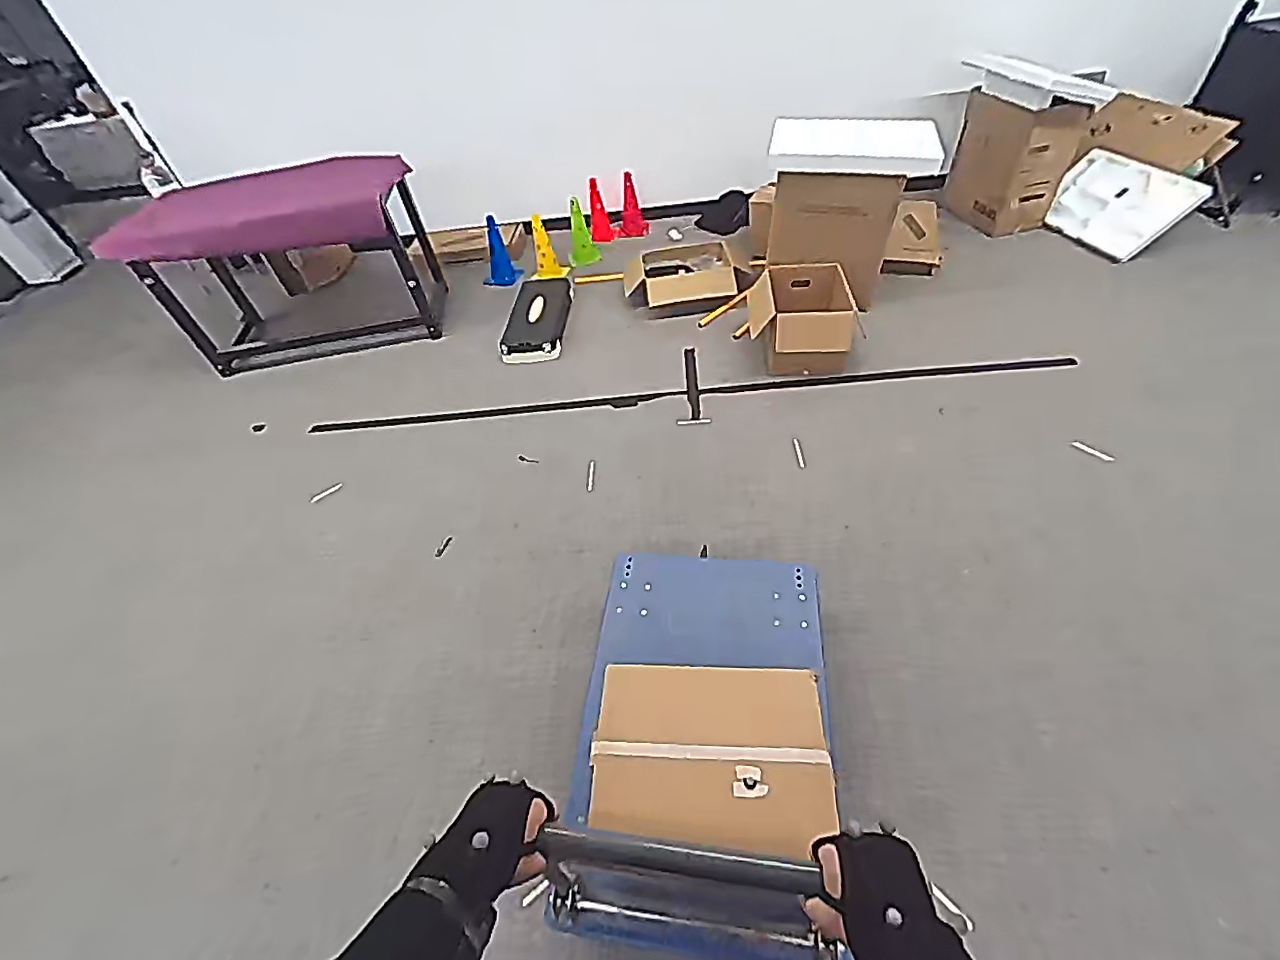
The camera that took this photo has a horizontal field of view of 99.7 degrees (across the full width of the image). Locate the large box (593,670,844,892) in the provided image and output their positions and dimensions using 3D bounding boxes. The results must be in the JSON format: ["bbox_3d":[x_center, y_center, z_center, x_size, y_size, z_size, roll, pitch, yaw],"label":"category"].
[{"bbox_3d":[0.137,0.587,1.057,0.408,0.320,0.320,0,48,6],"label":"large box"}]
